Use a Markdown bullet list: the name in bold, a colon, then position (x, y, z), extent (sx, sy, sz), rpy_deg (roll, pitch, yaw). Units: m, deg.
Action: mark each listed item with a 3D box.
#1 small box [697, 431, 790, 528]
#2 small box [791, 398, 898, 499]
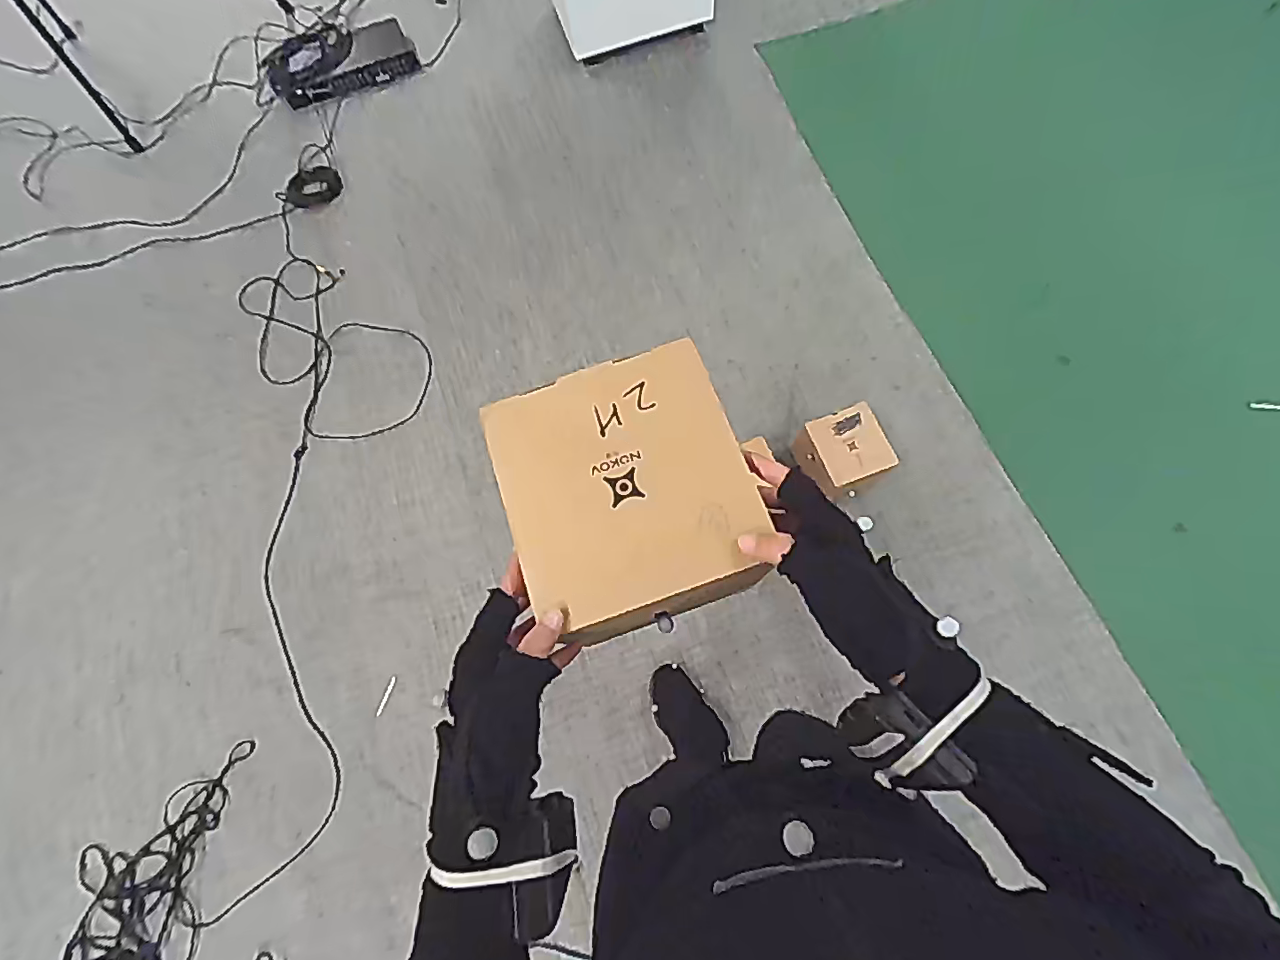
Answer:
- **small box**: position (0.251, 0.009, 1.346), extent (0.168, 0.176, 0.179), rpy_deg (-20, 73, -3)
- **small box**: position (0.501, -0.074, 1.356), extent (0.168, 0.176, 0.179), rpy_deg (-20, 74, -3)
